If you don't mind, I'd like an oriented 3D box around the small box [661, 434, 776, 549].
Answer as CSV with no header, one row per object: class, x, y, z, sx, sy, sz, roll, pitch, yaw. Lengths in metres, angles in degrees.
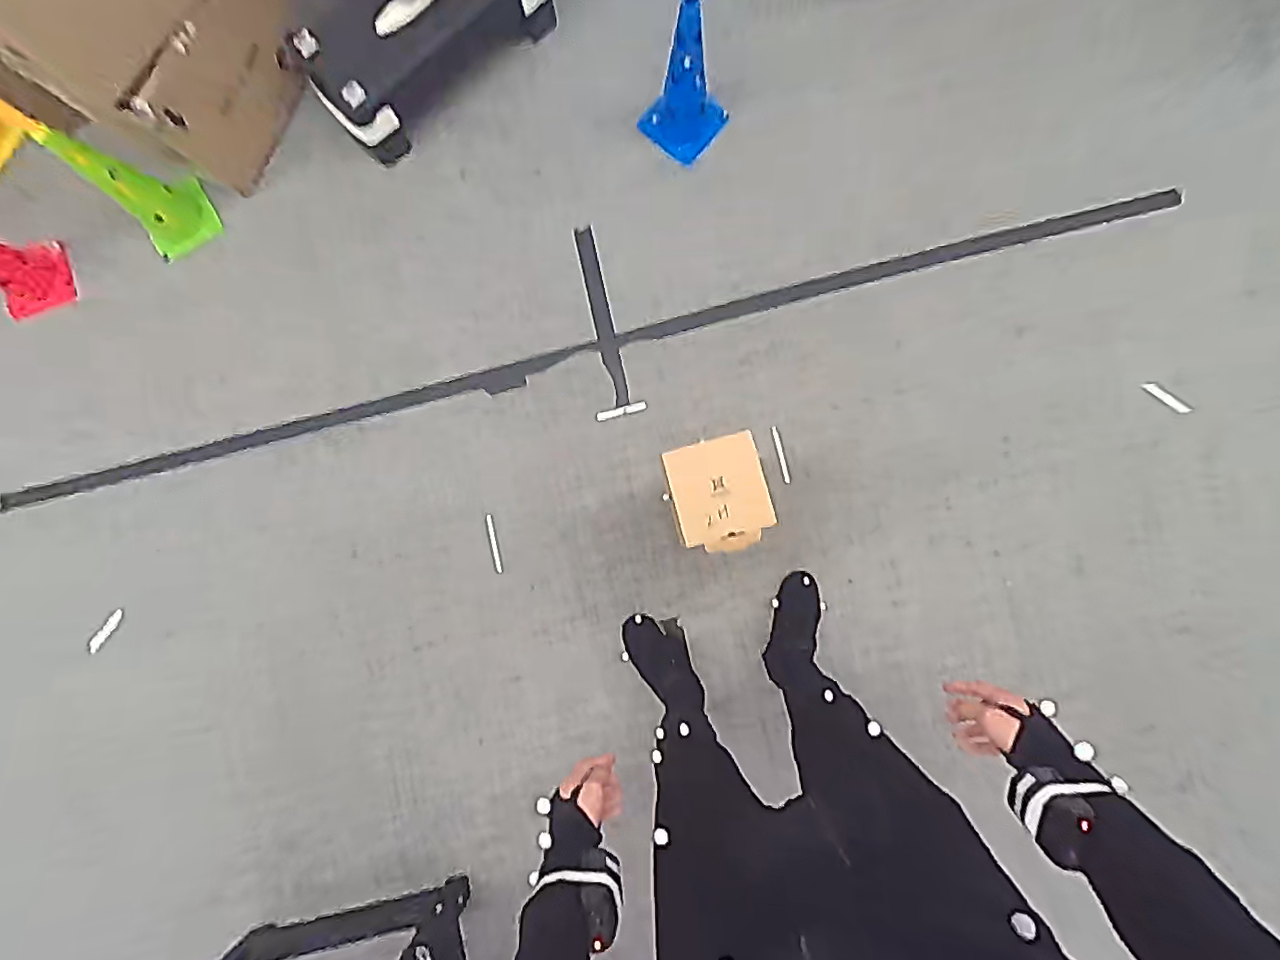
small box,0.138,0.028,1.023,0.168,0.176,0.179,-15,84,0
